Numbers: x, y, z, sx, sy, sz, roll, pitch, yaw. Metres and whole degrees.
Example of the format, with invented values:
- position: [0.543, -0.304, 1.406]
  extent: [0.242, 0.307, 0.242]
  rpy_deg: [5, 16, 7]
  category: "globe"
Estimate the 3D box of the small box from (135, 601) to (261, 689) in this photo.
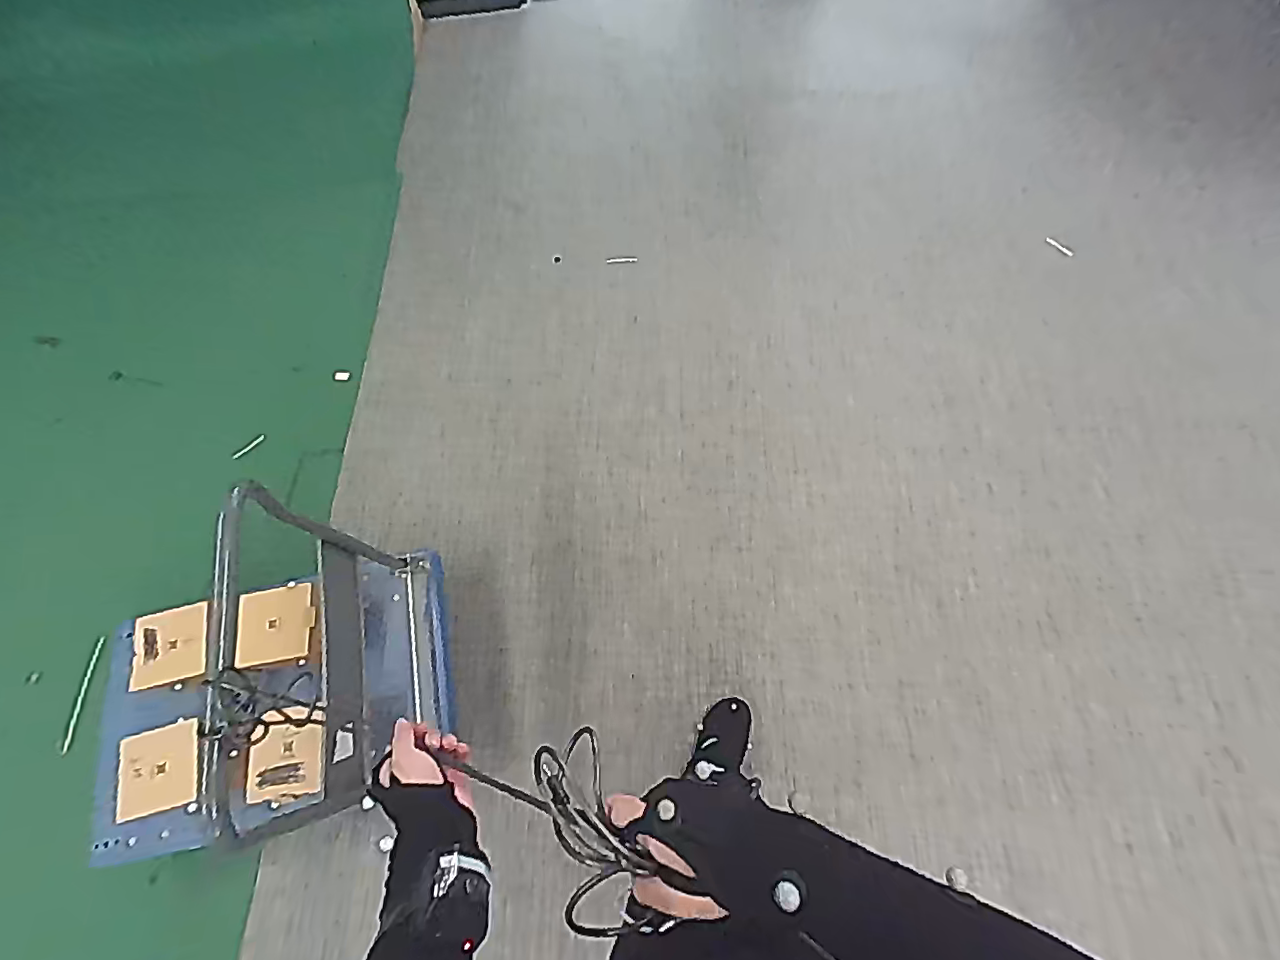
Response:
- position: [-1.053, 0.402, 1.307]
  extent: [0.179, 0.176, 0.168]
  rpy_deg: [-14, 71, 0]
  category: "small box"

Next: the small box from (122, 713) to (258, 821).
- position: [-1.001, 0.636, 1.220]
  extent: [0.179, 0.176, 0.168]
  rpy_deg: [-17, 69, 0]
  category: "small box"

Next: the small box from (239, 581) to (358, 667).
- position: [-0.814, 0.352, 1.301]
  extent: [0.179, 0.176, 0.168]
  rpy_deg: [-12, 70, 2]
  category: "small box"
